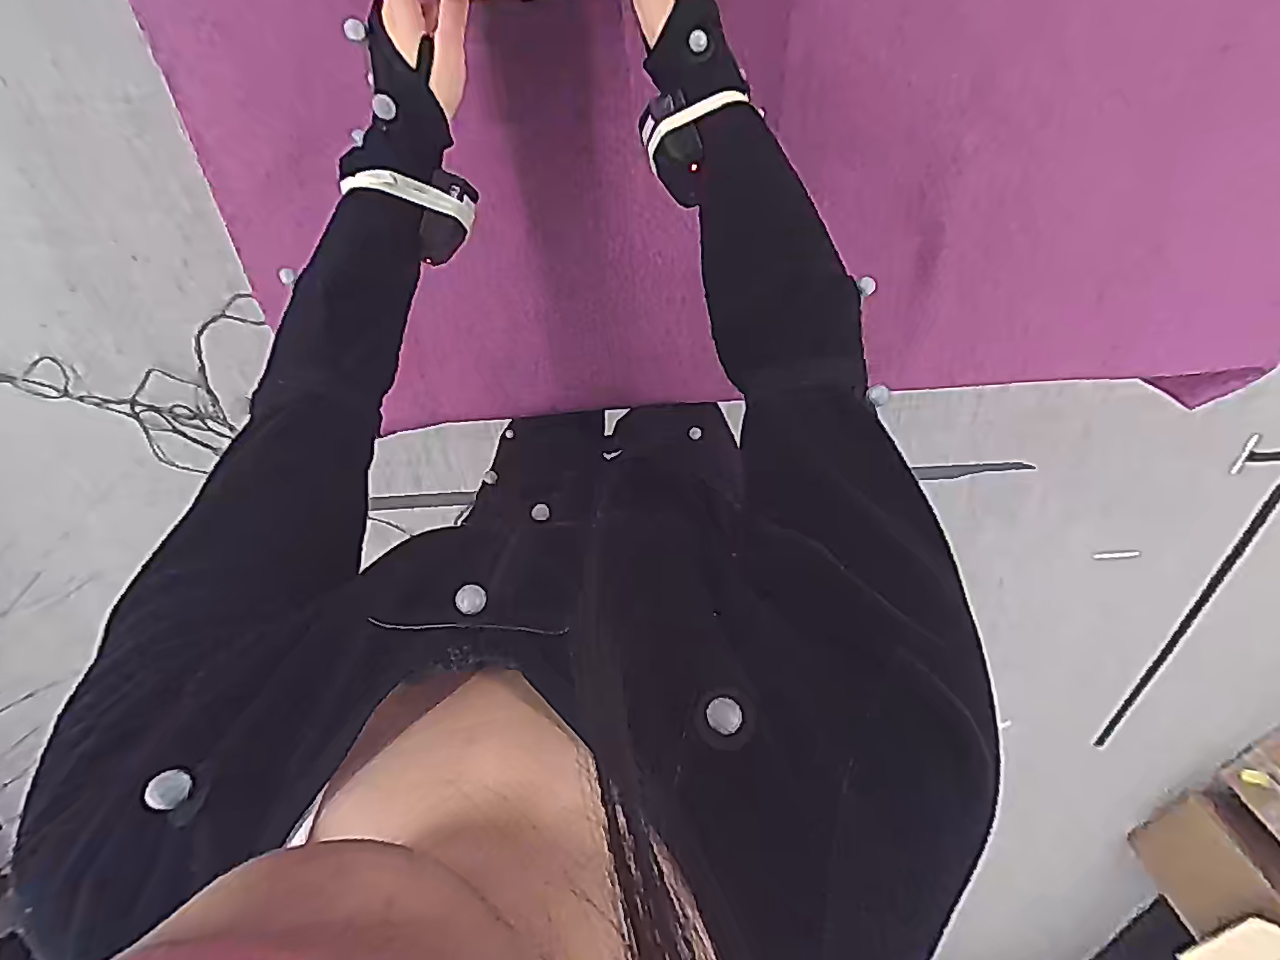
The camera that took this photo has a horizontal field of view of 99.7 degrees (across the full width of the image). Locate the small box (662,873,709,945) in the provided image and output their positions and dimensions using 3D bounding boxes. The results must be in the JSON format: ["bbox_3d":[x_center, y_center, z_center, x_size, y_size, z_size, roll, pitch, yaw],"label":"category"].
[{"bbox_3d":[0.170,1.617,2.042,0.168,0.176,0.179,-4,122,0],"label":"small box"}]

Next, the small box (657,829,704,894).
[{"bbox_3d":[0.161,1.536,2.182,0.179,0.176,0.168,-4,122,2],"label":"small box"}]
